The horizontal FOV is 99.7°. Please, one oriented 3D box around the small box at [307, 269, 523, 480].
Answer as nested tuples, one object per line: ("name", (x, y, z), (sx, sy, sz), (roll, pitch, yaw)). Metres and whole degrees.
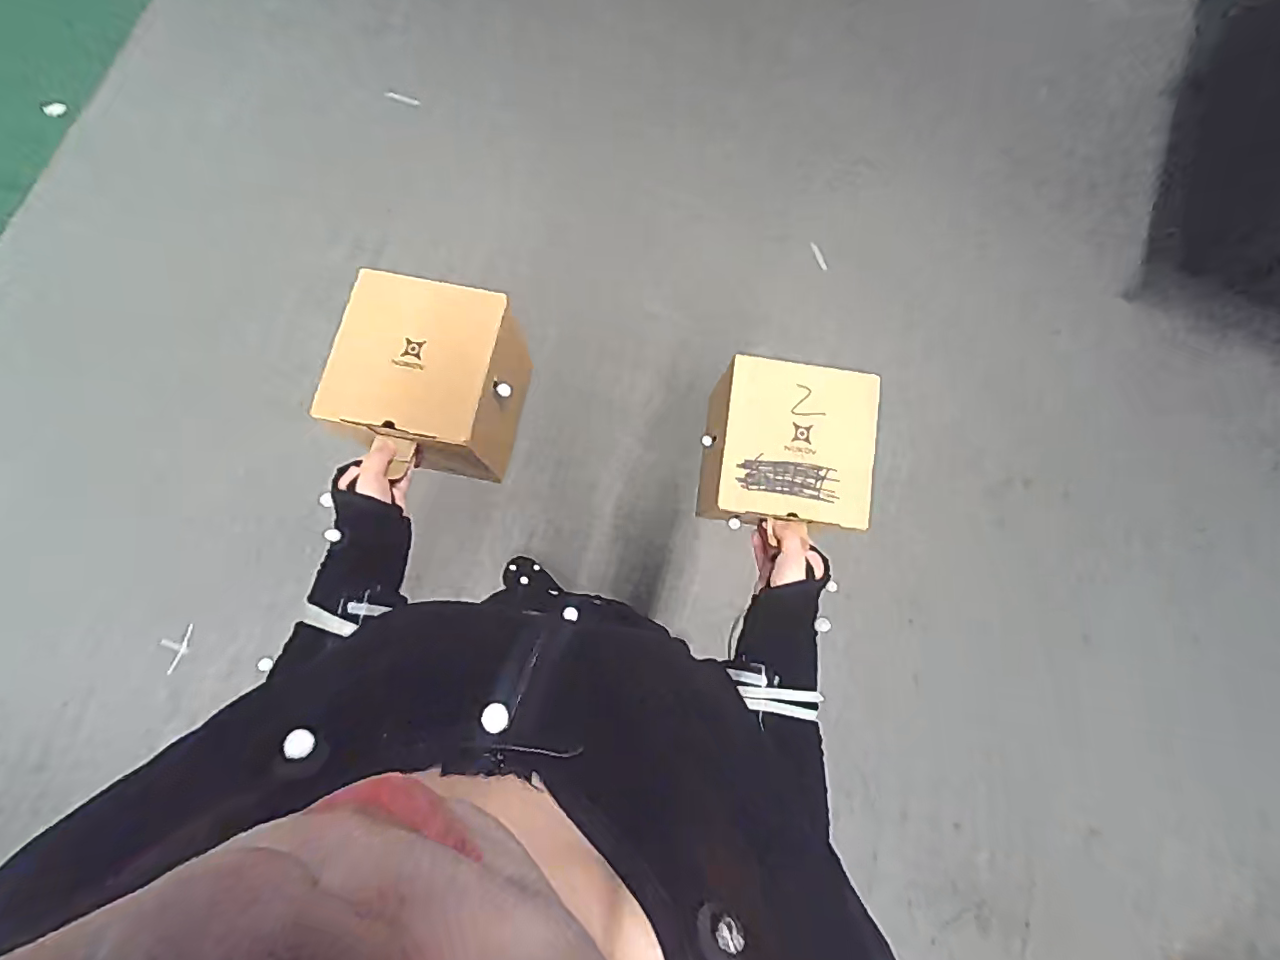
("small box", (-0.245, -0.114, 0.642), (0.168, 0.176, 0.179), (11, 78, 1))
